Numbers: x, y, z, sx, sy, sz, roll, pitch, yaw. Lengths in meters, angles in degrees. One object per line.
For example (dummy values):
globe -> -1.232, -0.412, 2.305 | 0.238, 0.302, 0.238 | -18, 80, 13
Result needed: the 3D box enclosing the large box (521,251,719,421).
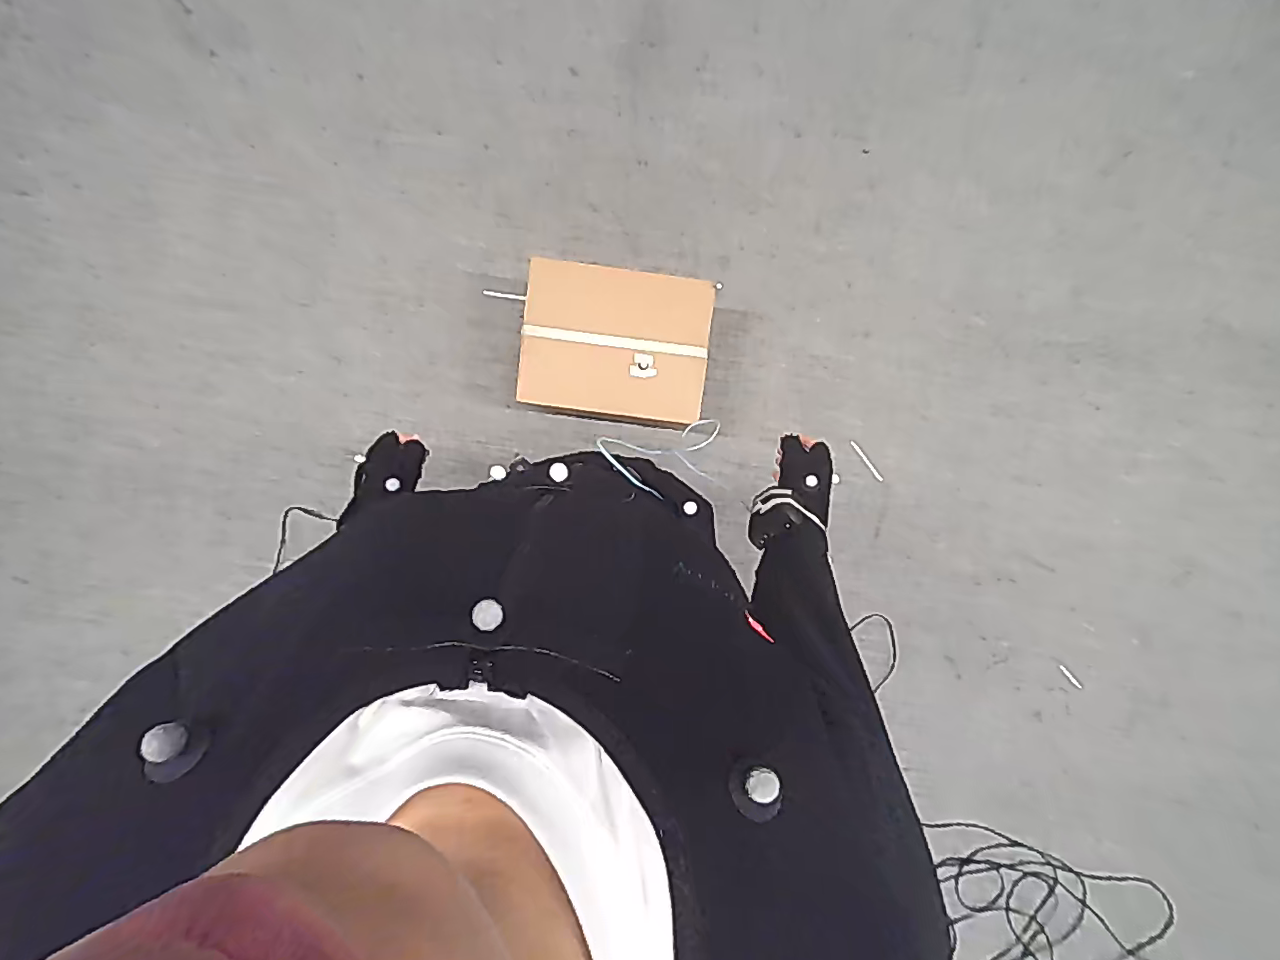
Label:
large box -> -0.051, -0.325, 1.314 | 0.408, 0.320, 0.320 | 7, 94, -3
